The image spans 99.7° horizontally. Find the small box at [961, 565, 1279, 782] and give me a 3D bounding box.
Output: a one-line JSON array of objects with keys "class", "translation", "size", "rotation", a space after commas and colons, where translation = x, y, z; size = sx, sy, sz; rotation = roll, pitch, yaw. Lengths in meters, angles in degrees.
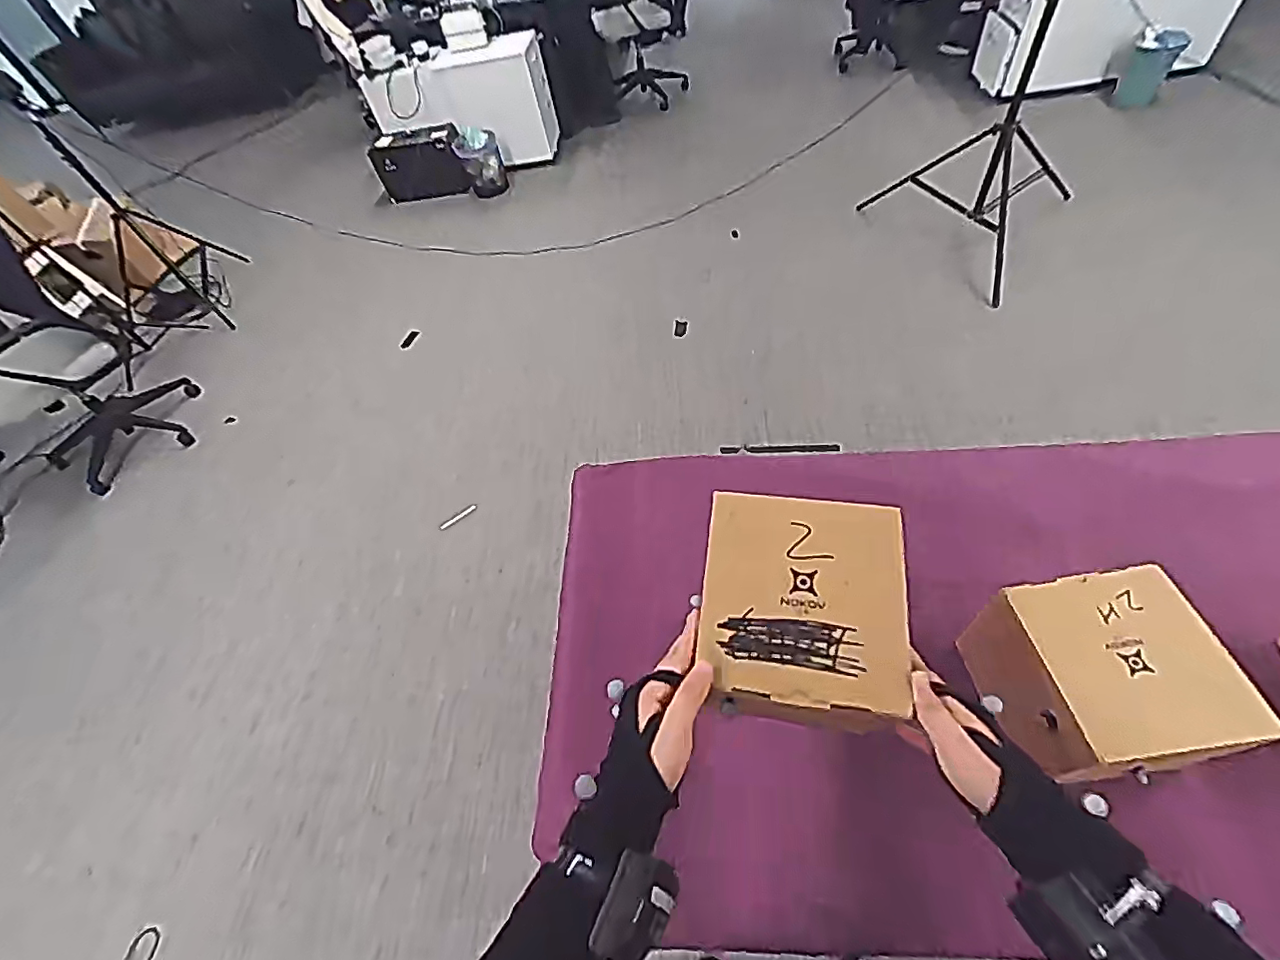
[{"class": "small box", "translation": [0.492, 0.219, 0.592], "size": [0.168, 0.176, 0.179], "rotation": [-10, 52, 3]}]
